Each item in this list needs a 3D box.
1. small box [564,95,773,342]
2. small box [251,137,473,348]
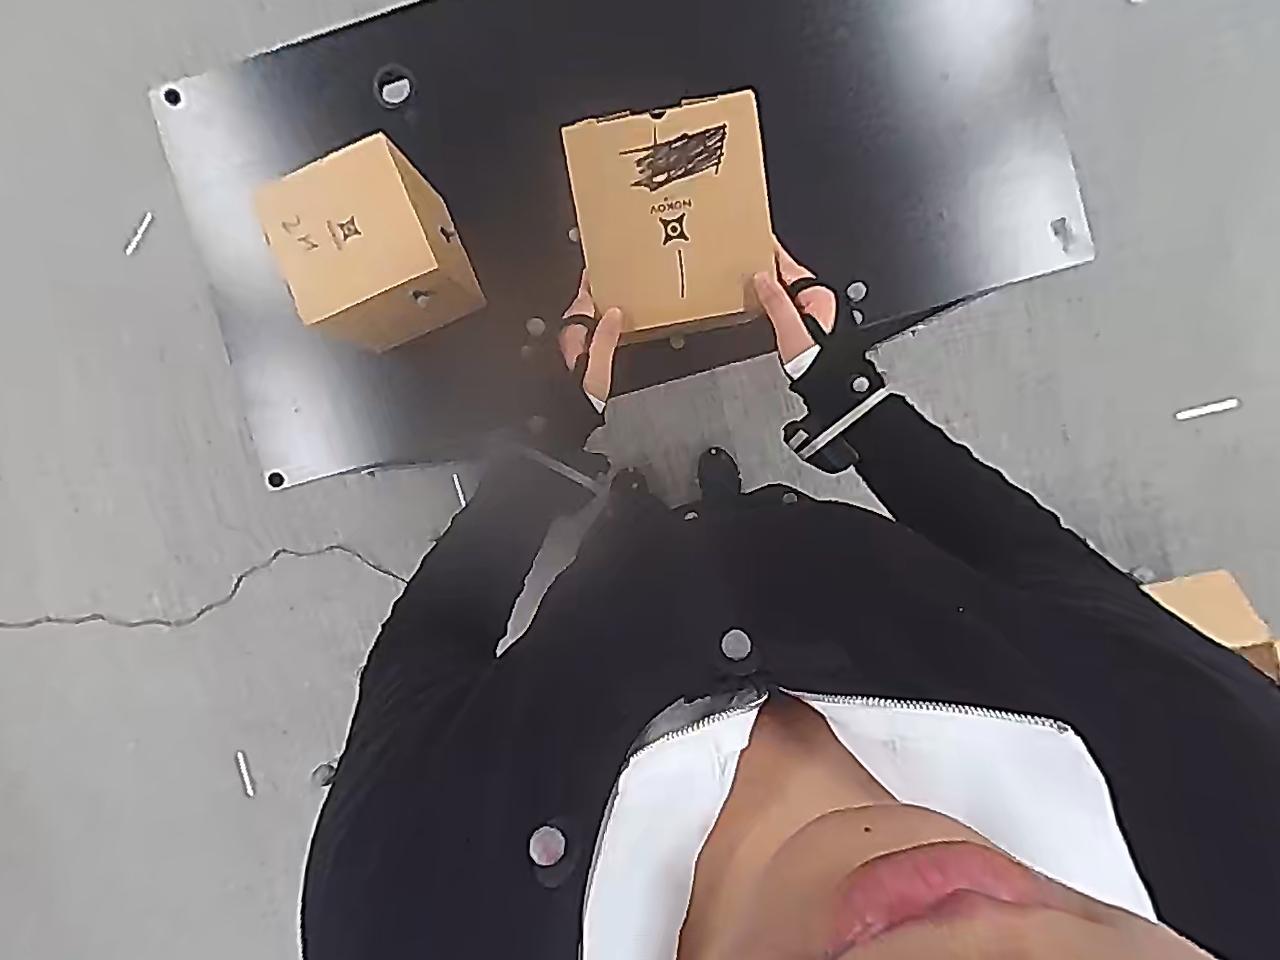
[{"bbox_3d":[0.028,-0.244,0.551,0.168,0.176,0.179,-9,102,3],"label":"small box"},{"bbox_3d":[-0.337,-0.290,0.701,0.179,0.176,0.168,-23,92,4],"label":"small box"}]
